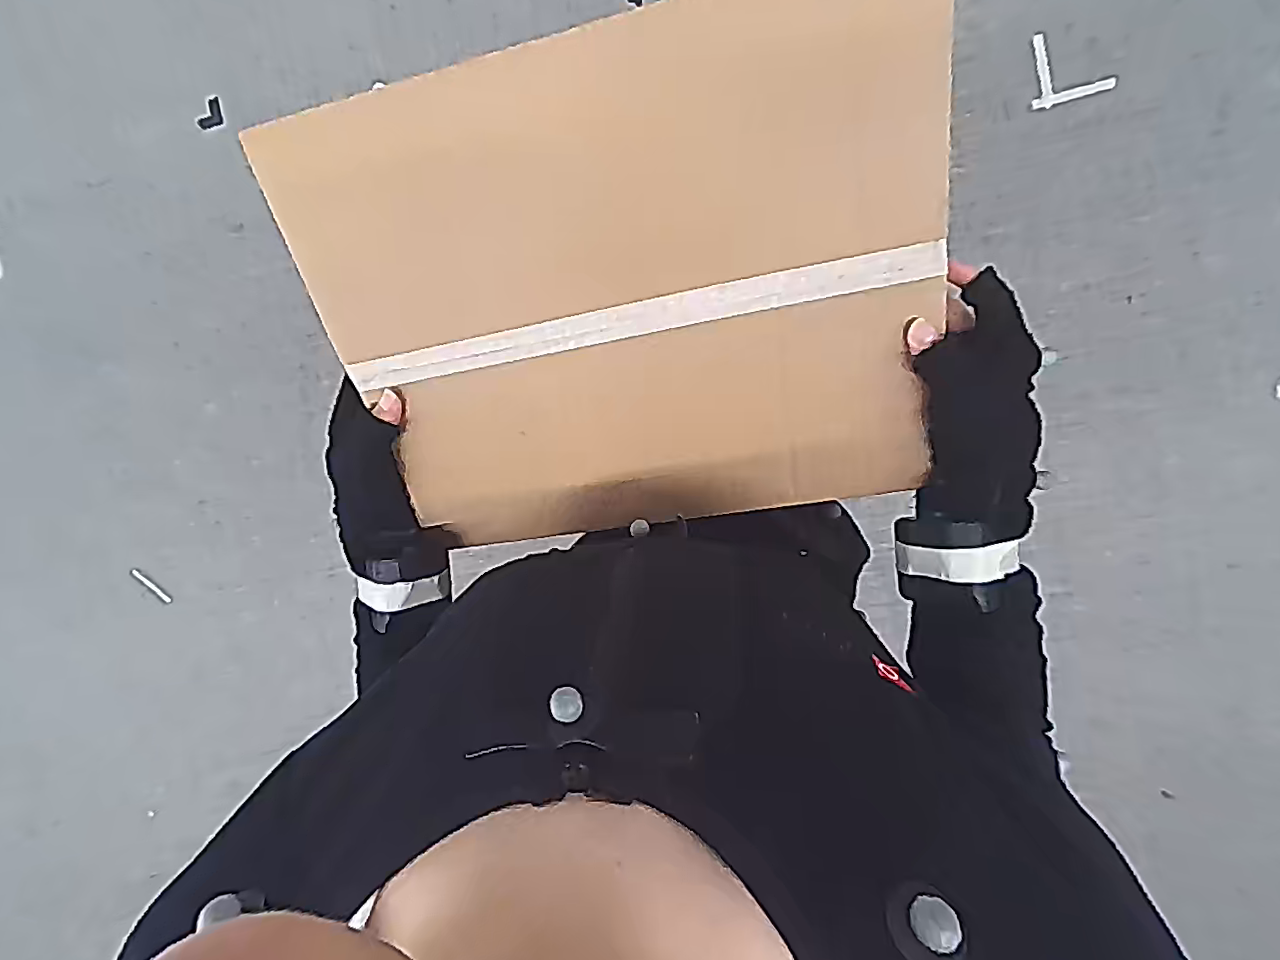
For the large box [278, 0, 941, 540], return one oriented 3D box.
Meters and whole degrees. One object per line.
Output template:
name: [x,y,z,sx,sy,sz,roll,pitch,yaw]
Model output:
large box: [0.004,-0.177,0.501,0.408,0.320,0.320,-8,117,11]
